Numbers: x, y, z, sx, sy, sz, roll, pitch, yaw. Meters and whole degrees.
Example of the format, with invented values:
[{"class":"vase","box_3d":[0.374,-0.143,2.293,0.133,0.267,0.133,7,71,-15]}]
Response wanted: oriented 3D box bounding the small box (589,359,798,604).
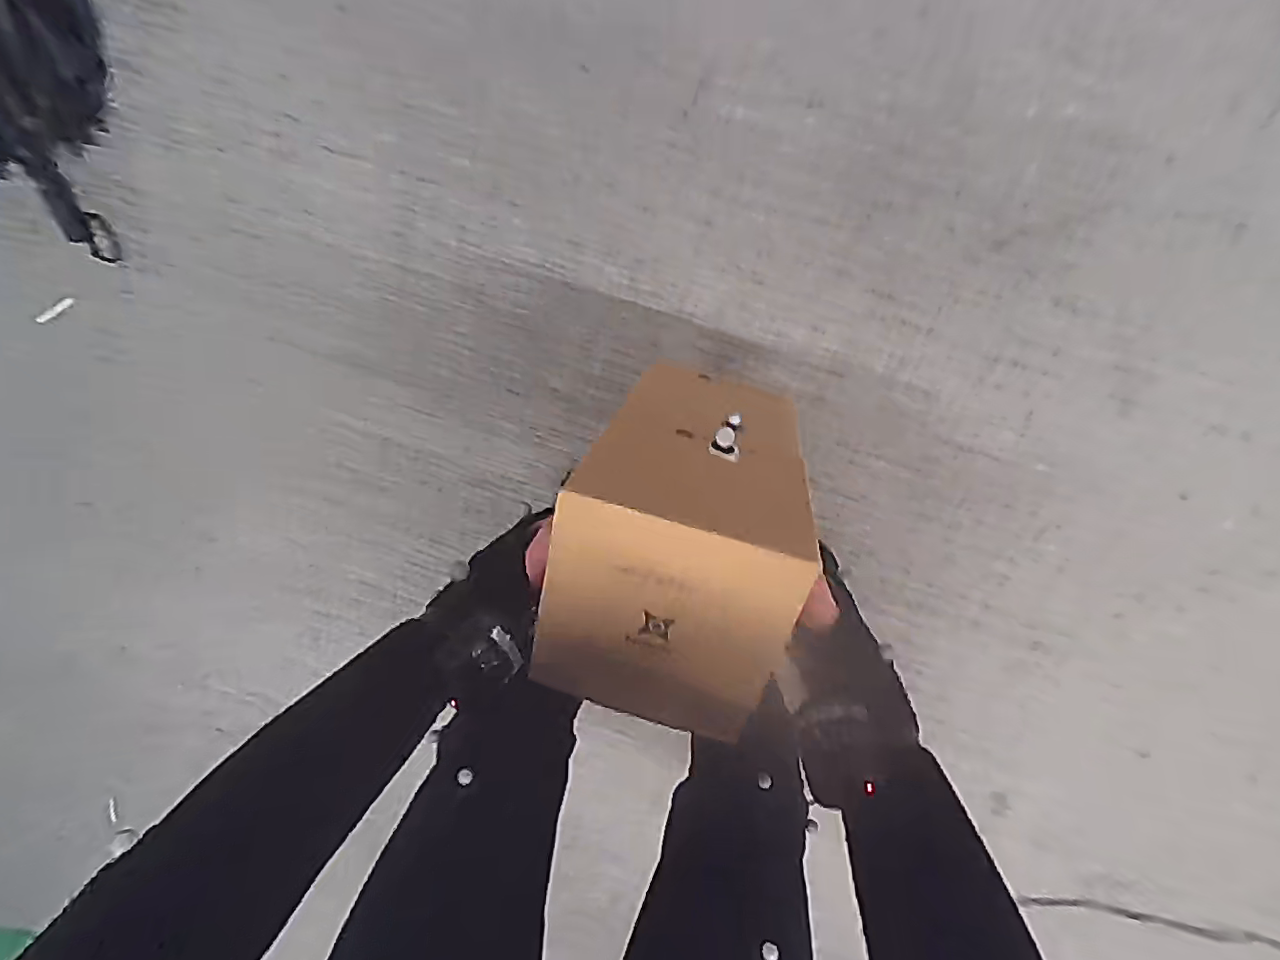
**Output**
[{"class":"small box","box_3d":[0.058,-0.007,0.577,0.168,0.176,0.179,17,120,4]}]
